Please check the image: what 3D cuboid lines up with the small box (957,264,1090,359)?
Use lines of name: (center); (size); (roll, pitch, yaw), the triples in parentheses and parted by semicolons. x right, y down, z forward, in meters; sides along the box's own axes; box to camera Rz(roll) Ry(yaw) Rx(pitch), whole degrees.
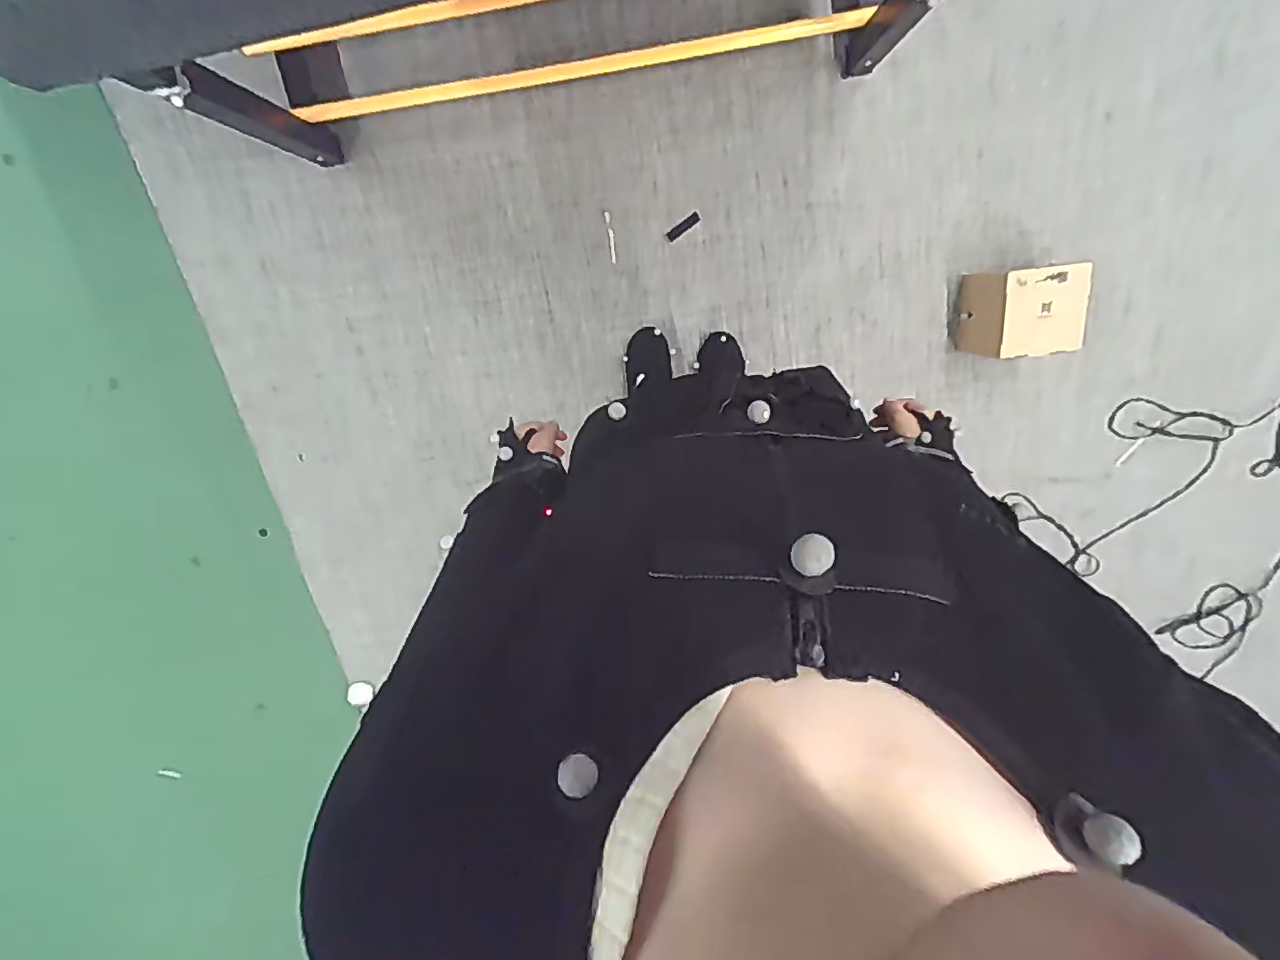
small box: (0.820, -0.369, 1.177); (0.168, 0.176, 0.179); (-6, 109, 2)
